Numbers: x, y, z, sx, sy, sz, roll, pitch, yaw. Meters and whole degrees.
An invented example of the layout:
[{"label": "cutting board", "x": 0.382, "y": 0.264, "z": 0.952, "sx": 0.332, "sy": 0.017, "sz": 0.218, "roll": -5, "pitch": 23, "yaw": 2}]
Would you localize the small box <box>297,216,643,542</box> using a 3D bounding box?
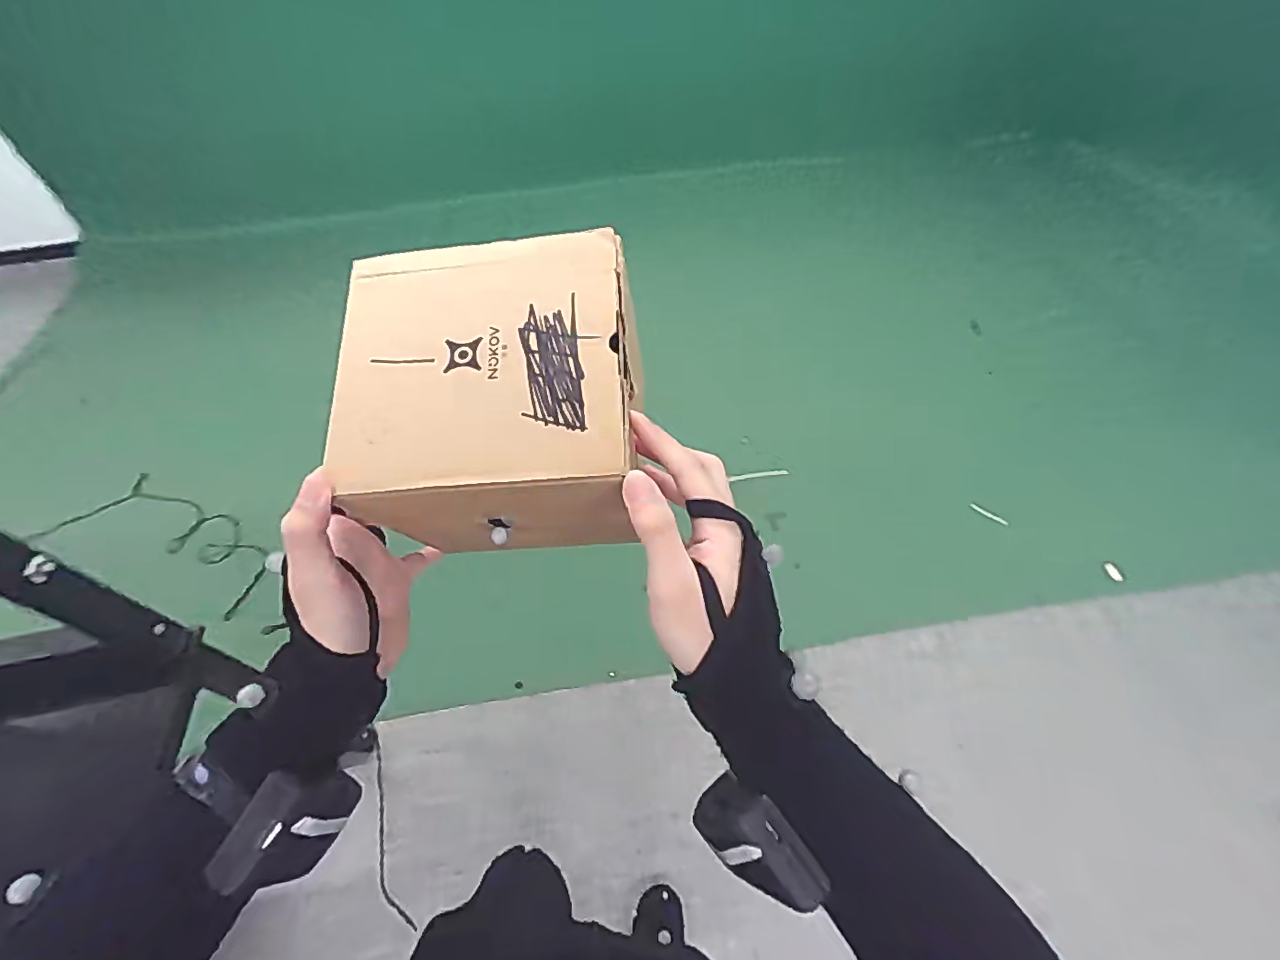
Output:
[{"label": "small box", "x": -0.090, "y": -0.054, "z": 0.381, "sx": 0.179, "sy": 0.176, "sz": 0.168, "roll": -2, "pitch": 72, "yaw": 6}]
